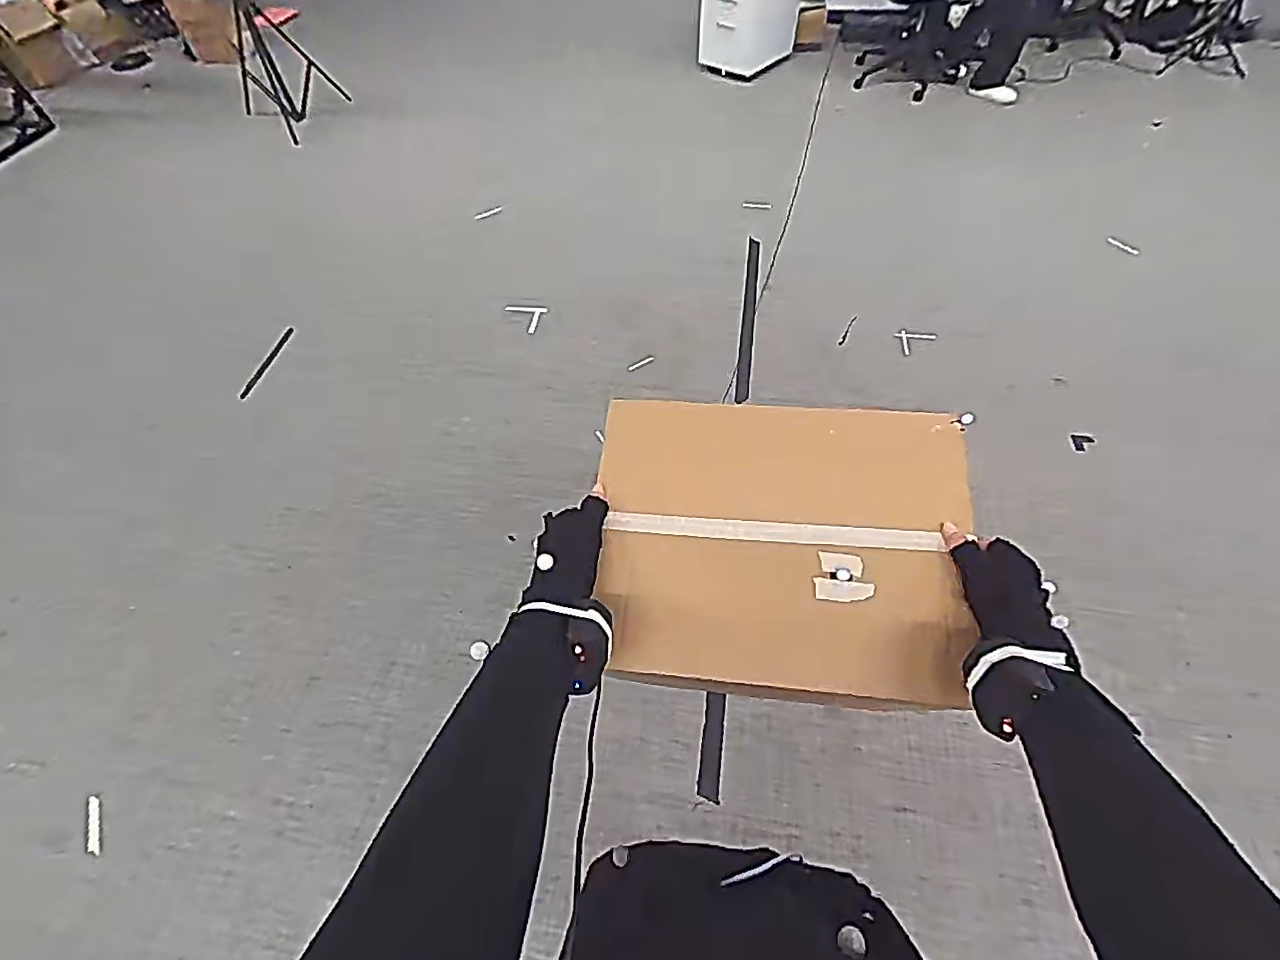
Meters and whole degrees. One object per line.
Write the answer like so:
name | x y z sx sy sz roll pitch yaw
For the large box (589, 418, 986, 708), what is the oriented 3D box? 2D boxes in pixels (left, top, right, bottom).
large box | 0.165 0.129 0.738 0.408 0.320 0.320 3 68 7
